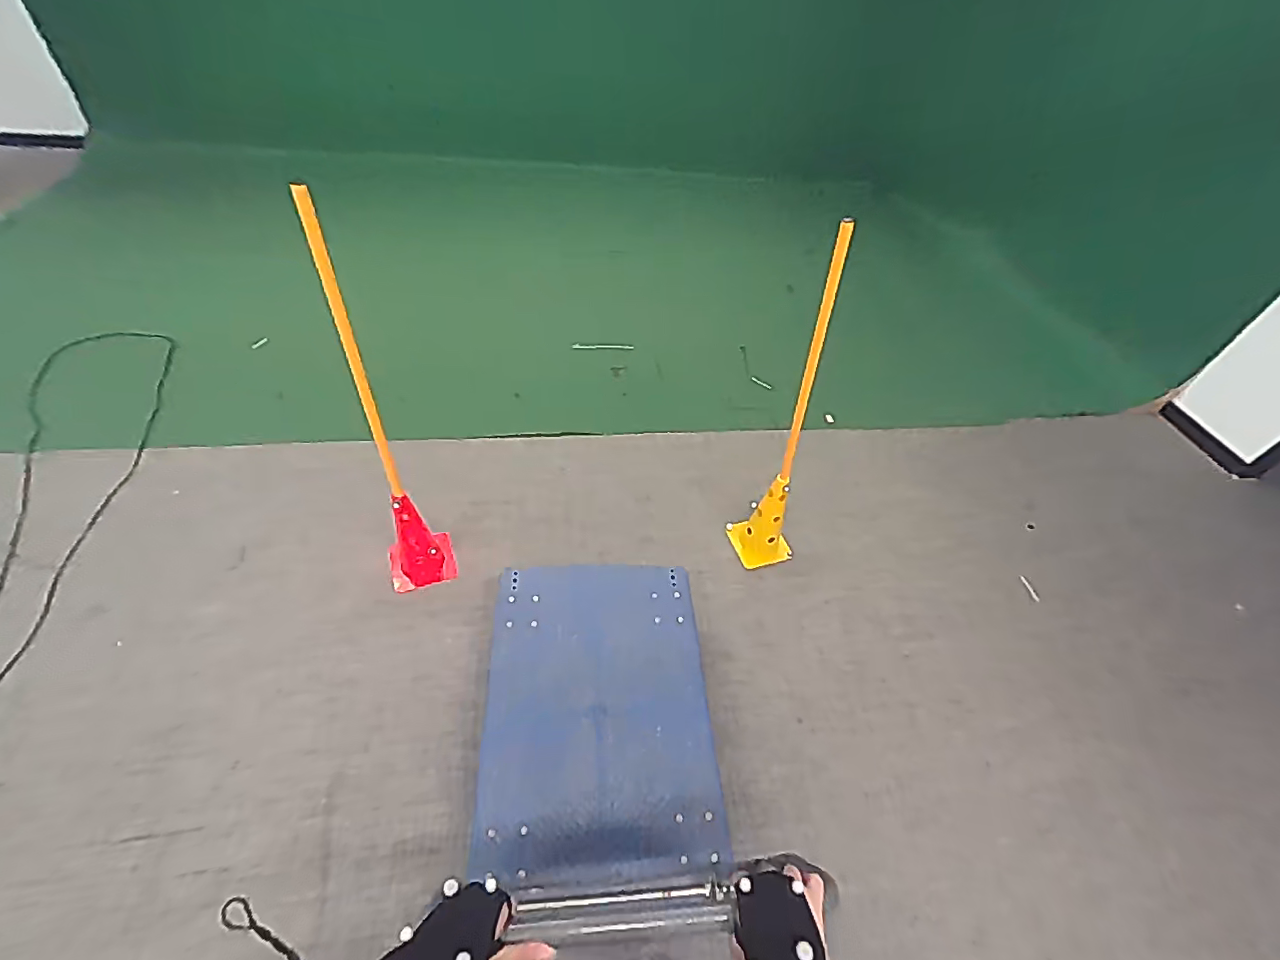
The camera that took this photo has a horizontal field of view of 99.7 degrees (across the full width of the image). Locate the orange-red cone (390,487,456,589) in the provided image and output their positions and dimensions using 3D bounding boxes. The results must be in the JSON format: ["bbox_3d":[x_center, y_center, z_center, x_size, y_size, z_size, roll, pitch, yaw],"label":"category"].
[{"bbox_3d":[-0.718,0.151,1.691,0.199,0.360,0.198,-15,51,-17],"label":"orange-red cone"}]
